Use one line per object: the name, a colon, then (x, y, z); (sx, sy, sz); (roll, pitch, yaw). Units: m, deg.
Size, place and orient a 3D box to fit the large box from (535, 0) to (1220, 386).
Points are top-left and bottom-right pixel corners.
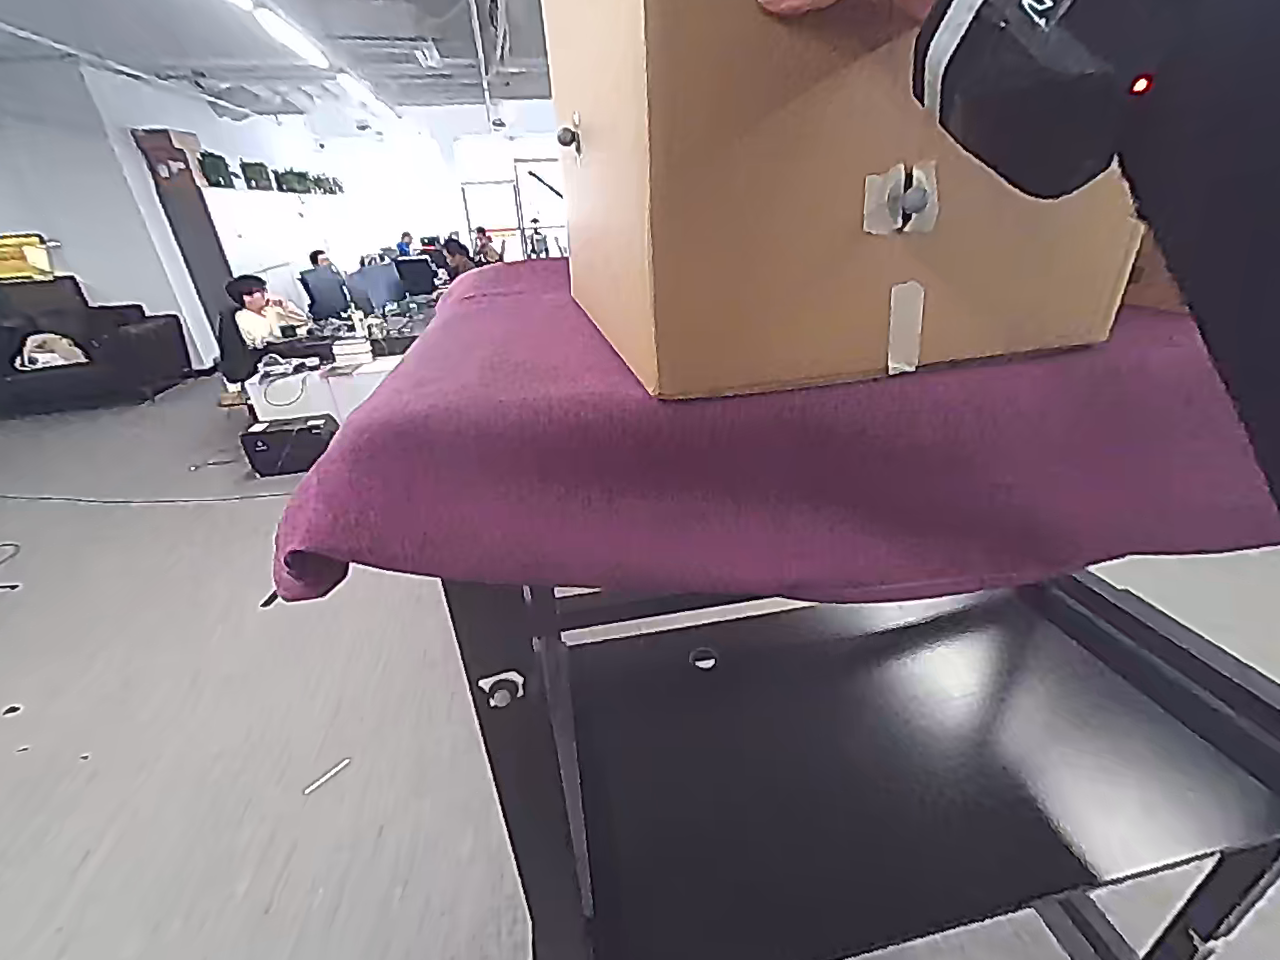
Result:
large box: (0.104, -0.287, 0.423); (0.320, 0.320, 0.408); (-8, 27, -11)
